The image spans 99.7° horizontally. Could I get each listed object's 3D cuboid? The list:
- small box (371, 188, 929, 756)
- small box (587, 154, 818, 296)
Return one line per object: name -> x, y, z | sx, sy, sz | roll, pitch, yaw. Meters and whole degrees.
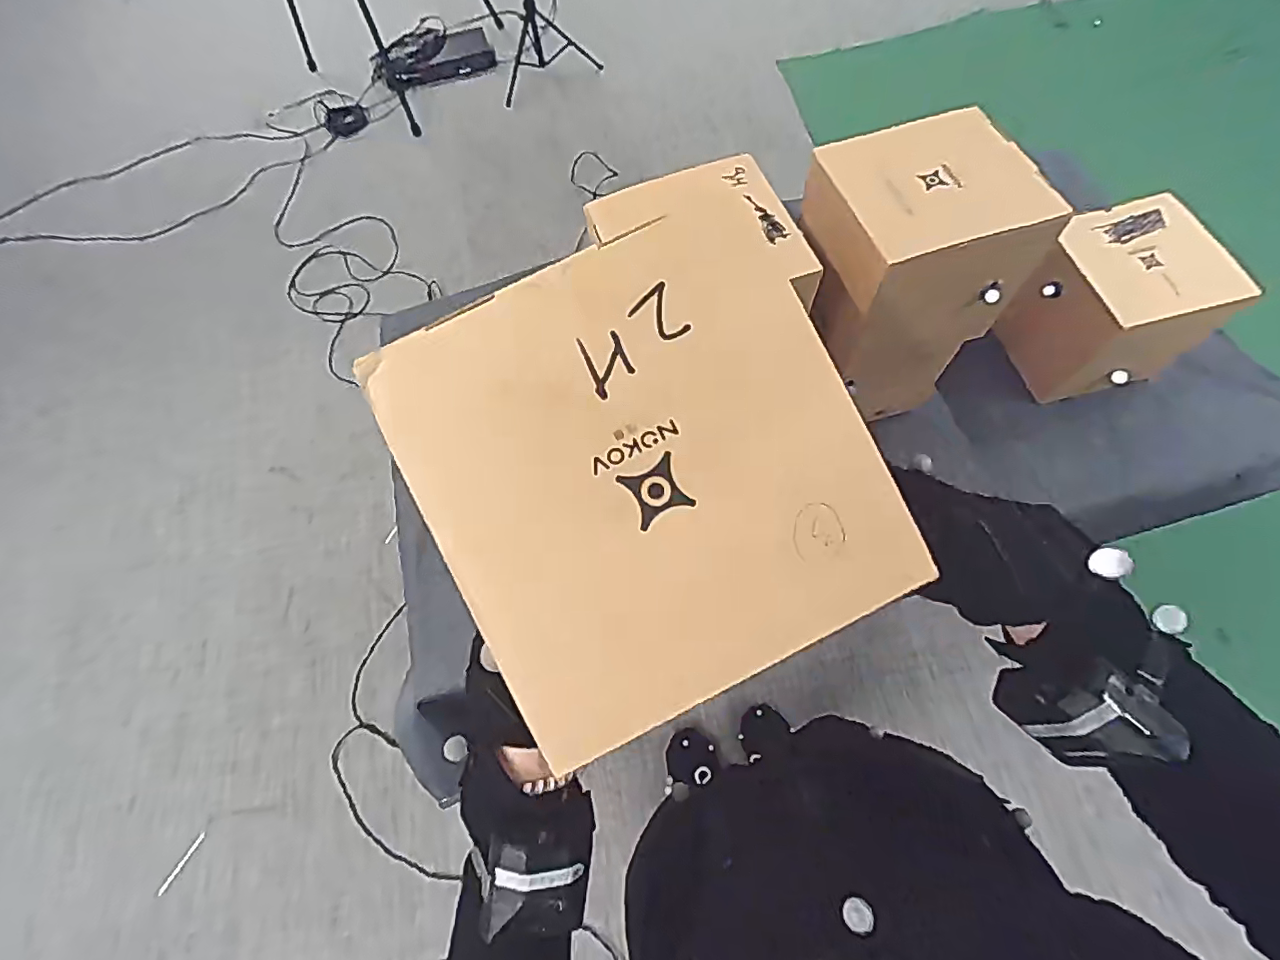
small box -> 0.003, -0.002, 0.289 | 0.168, 0.176, 0.179 | -26, 88, -4
small box -> 0.061, -0.196, 0.576 | 0.179, 0.176, 0.168 | -19, 67, -2
